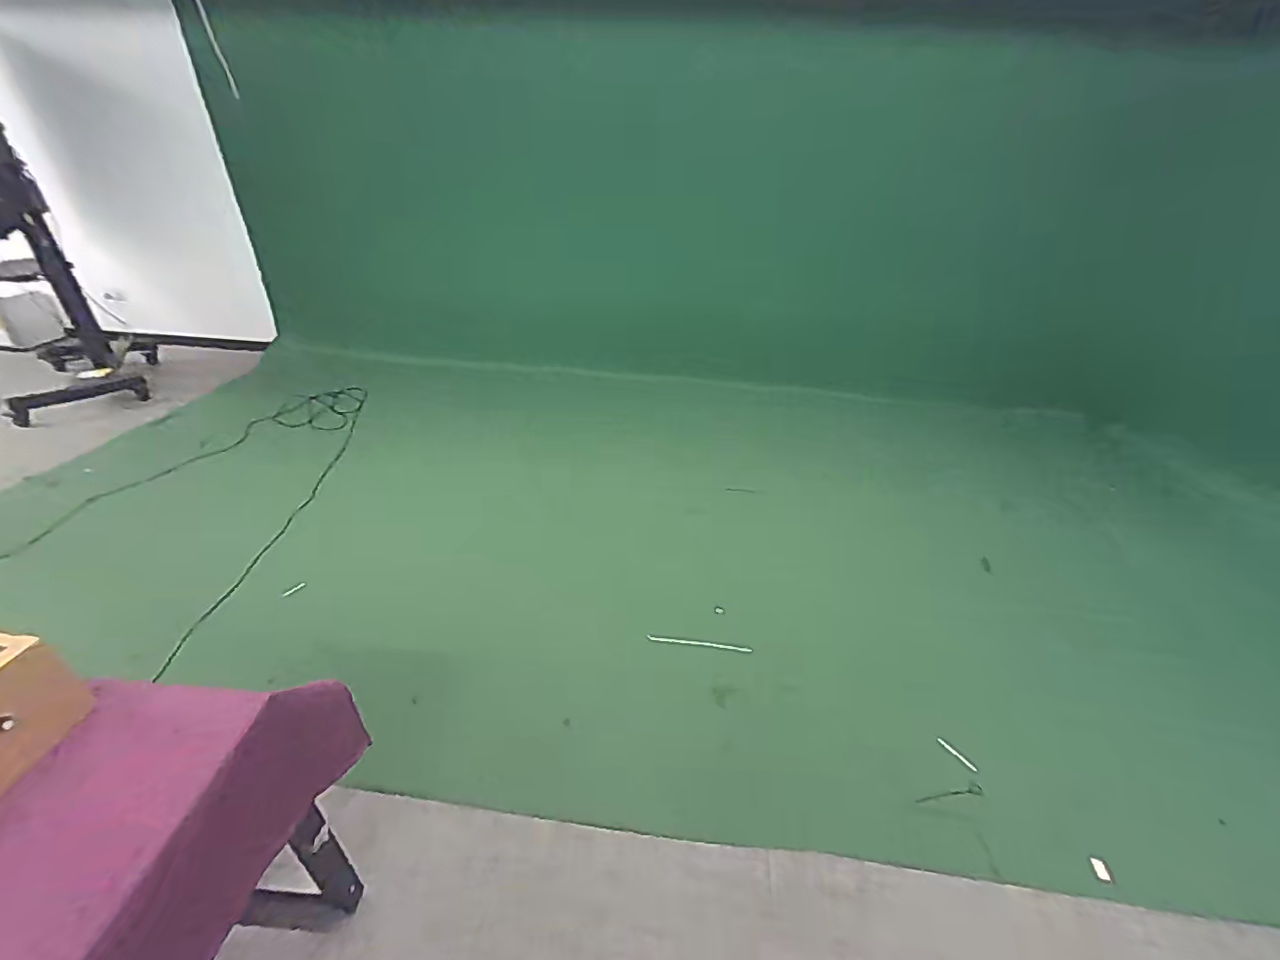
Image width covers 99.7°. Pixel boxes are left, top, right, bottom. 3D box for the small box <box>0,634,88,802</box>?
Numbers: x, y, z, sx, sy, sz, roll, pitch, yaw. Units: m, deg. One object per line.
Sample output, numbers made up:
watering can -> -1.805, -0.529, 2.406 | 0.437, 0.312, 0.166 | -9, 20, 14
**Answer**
small box -> -0.972, 0.345, 0.783 | 0.168, 0.176, 0.179 | 5, 34, 5
